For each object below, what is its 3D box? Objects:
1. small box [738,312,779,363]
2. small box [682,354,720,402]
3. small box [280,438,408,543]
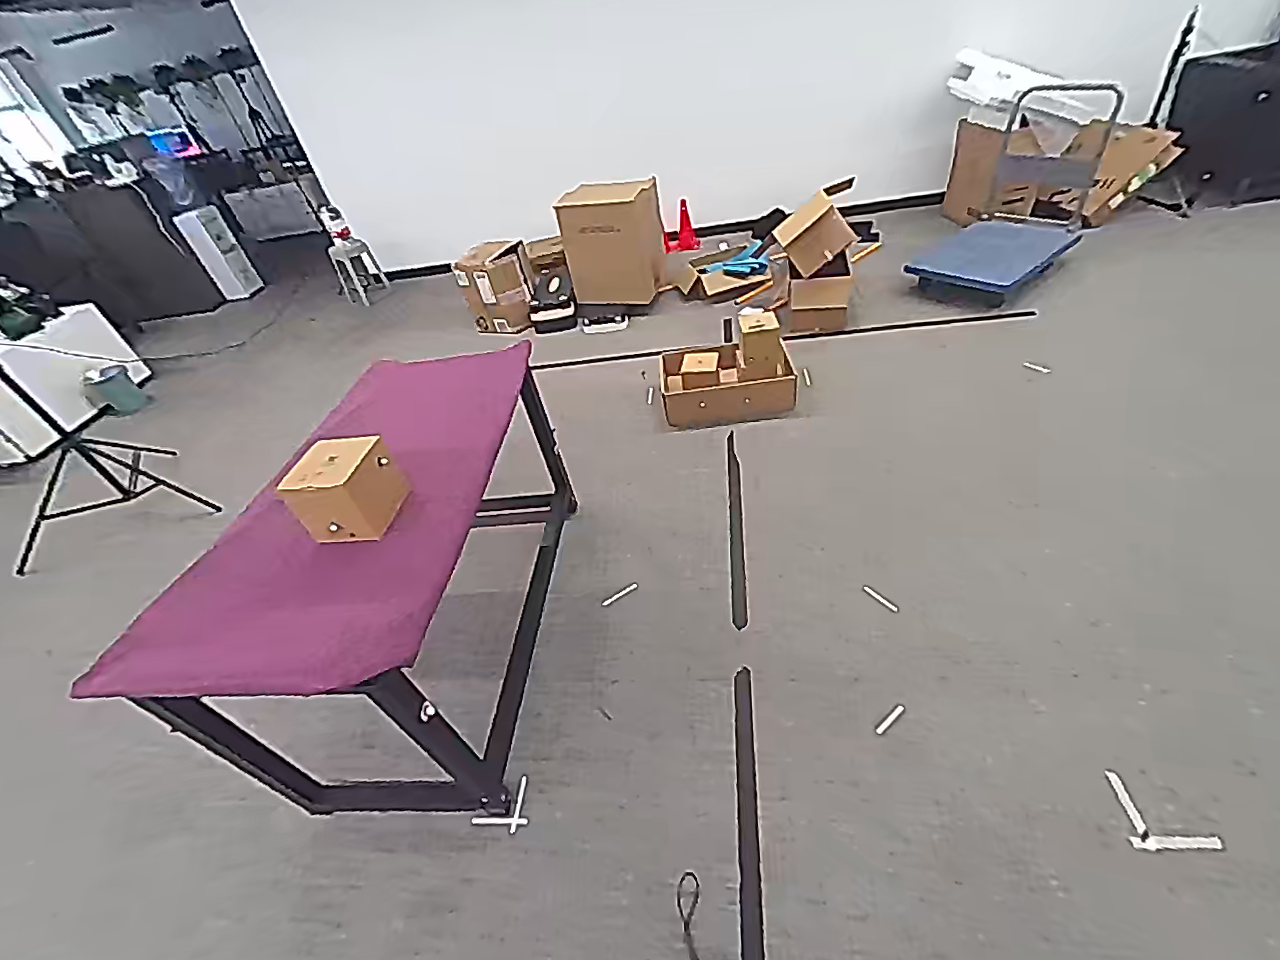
[{"bbox_3d":[0.549,-0.652,2.503,0.168,0.176,0.179,-7,39,7],"label":"small box"},{"bbox_3d":[0.301,-0.500,2.649,0.168,0.176,0.179,1,42,13],"label":"small box"},{"bbox_3d":[-0.666,0.025,1.245,0.168,0.176,0.179,-4,41,11],"label":"small box"}]
